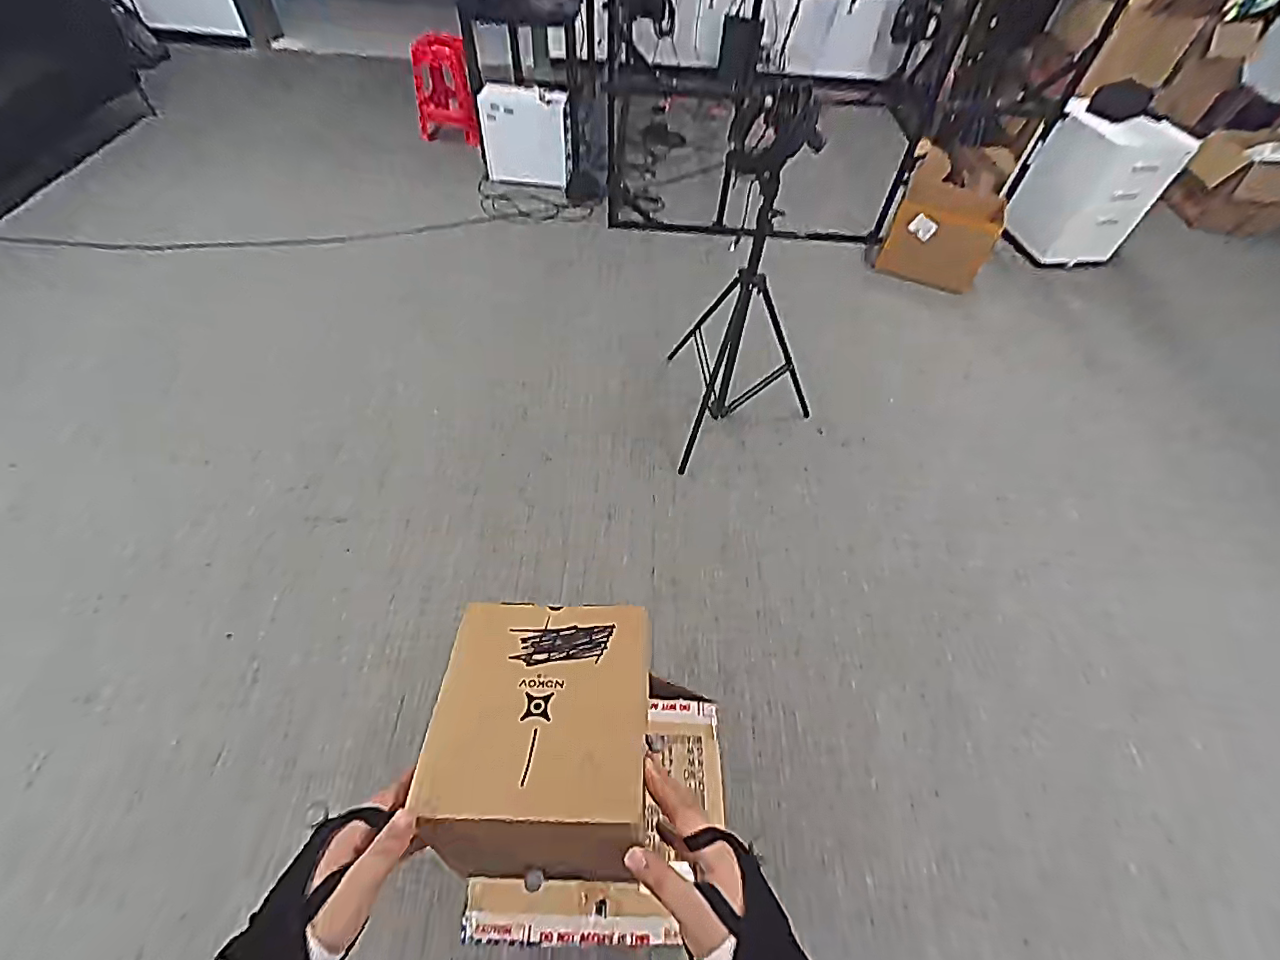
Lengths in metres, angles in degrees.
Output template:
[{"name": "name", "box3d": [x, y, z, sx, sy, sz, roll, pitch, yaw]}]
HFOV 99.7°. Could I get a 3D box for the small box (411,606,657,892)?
[{"name": "small box", "box3d": [-0.070, 0.232, 0.475, 0.168, 0.176, 0.179, 0, 42, 3]}]
